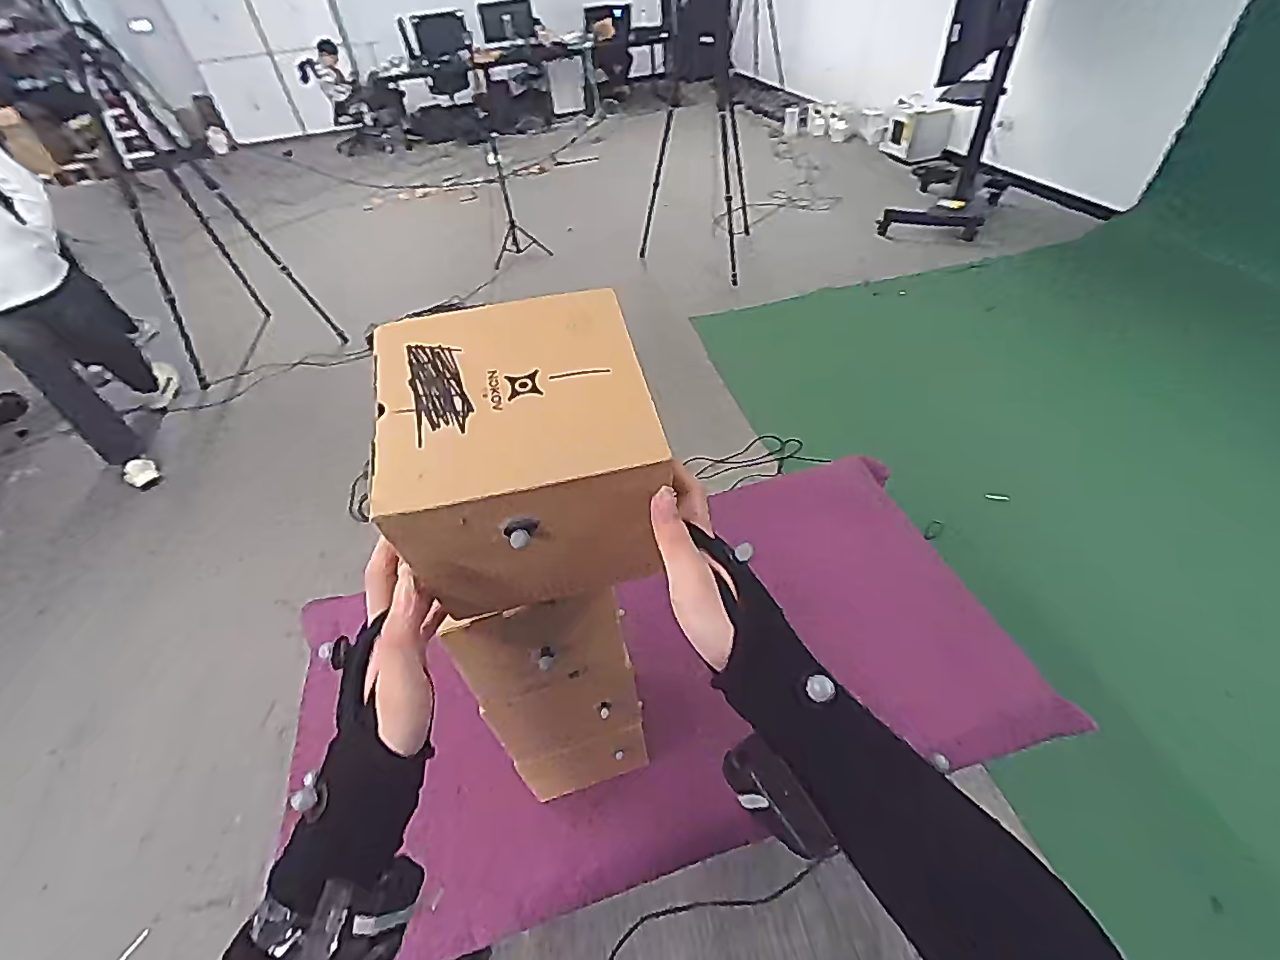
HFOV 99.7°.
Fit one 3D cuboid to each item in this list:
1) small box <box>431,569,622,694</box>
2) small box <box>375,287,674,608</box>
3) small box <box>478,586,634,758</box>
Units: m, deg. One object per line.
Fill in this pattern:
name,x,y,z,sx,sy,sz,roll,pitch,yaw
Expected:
small box,-0.124,0.116,0.607,0.168,0.176,0.179,-15,45,-10
small box,-0.080,-0.017,0.417,0.179,0.176,0.168,-11,58,-8
small box,-0.110,0.236,0.717,0.179,0.176,0.168,-15,45,-8
